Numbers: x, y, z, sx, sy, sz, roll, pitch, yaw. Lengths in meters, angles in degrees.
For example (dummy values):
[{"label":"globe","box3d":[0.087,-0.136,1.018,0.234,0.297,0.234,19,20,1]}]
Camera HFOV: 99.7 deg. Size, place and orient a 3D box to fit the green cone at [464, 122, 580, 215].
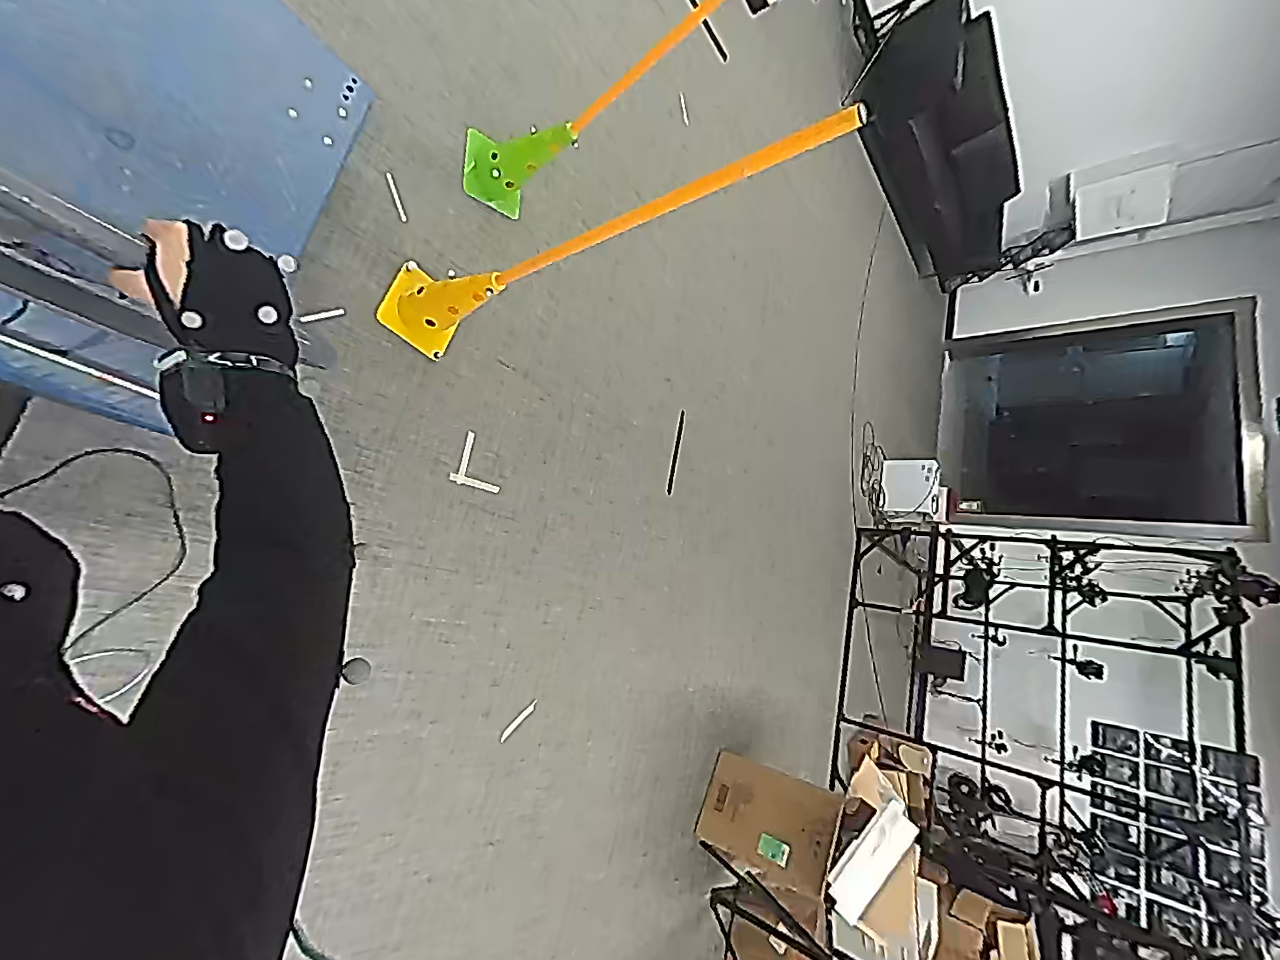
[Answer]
[{"label":"green cone","box3d":[-0.310,-0.930,1.527,0.200,0.368,0.202,6,87,-50]}]
